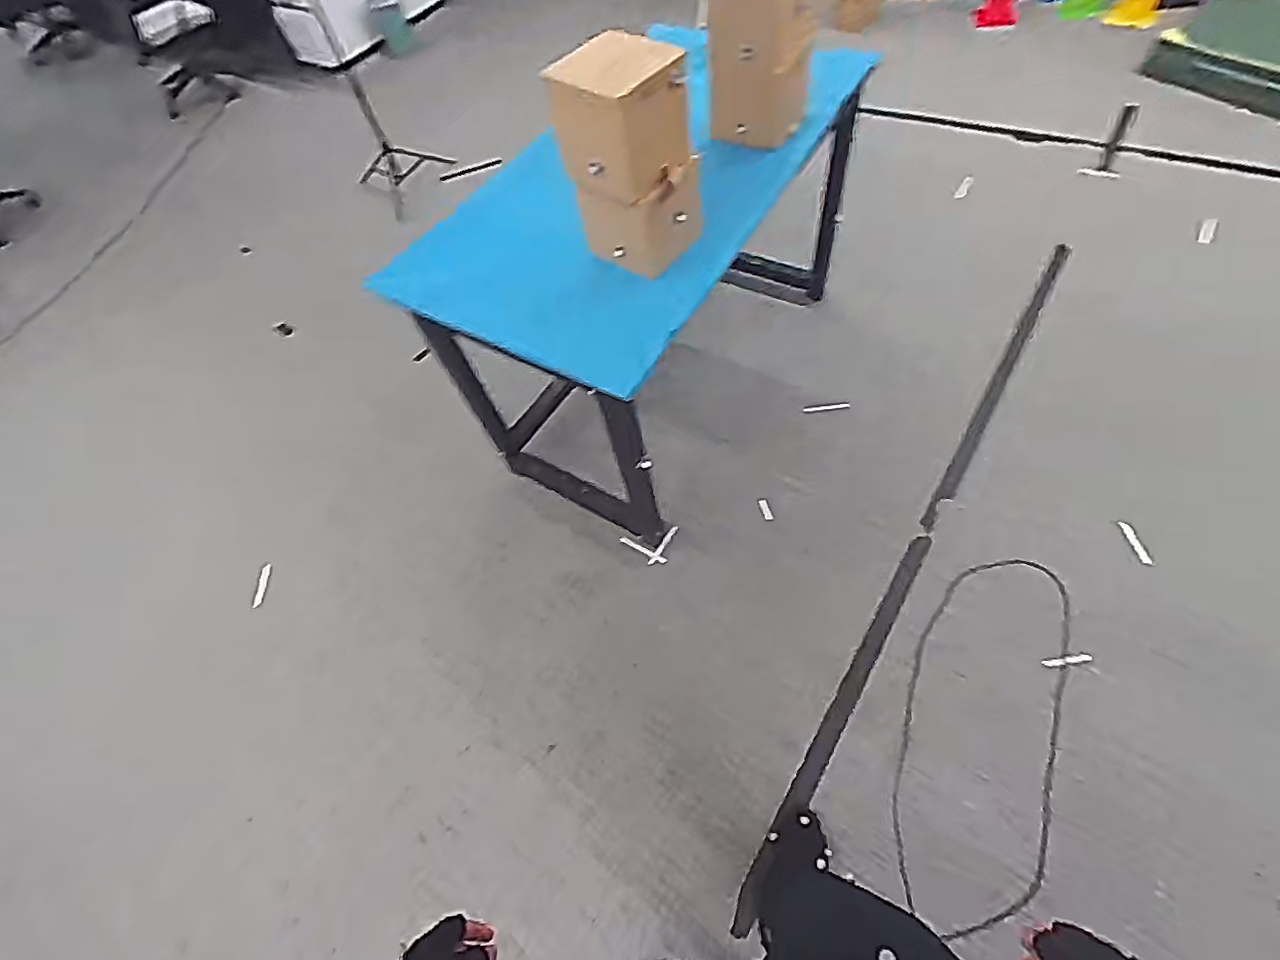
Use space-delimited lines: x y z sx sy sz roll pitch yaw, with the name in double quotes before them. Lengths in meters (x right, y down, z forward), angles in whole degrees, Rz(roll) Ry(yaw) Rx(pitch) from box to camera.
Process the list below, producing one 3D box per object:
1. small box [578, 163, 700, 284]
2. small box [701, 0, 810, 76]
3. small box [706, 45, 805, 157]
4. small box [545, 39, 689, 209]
"small box" -0.001 -0.527 1.063 0.179 0.176 0.168 31 68 23
"small box" 0.239 -0.967 1.096 0.168 0.176 0.179 27 70 24
"small box" 0.265 -0.877 1.231 0.179 0.176 0.168 25 66 23
"small box" -0.036 -0.610 0.925 0.179 0.176 0.168 36 70 24
